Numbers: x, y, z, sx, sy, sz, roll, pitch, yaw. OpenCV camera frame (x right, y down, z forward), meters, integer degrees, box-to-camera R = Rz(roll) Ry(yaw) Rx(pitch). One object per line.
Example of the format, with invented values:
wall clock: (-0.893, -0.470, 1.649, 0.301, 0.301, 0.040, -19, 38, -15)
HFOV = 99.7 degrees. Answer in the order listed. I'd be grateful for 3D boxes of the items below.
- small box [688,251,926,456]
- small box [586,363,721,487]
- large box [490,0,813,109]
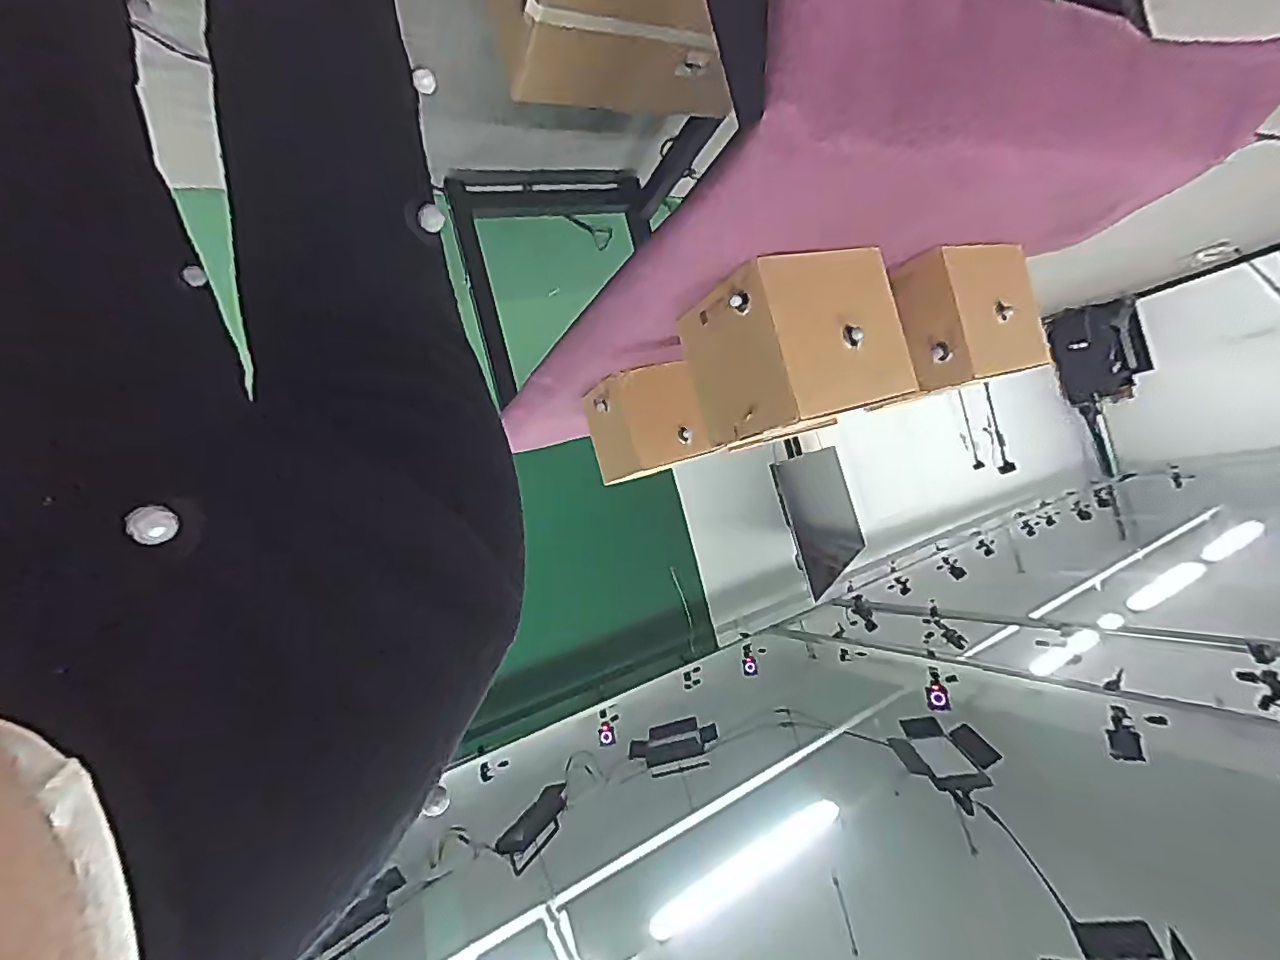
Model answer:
small box: (0.177, -0.139, 0.613, 0.179, 0.176, 0.168, -16, 180, -24)
small box: (0.028, -0.097, 0.941, 0.179, 0.176, 0.168, -15, 178, -27)
large box: (0.006, -0.778, 0.748, 0.408, 0.320, 0.320, -15, 180, -25)
